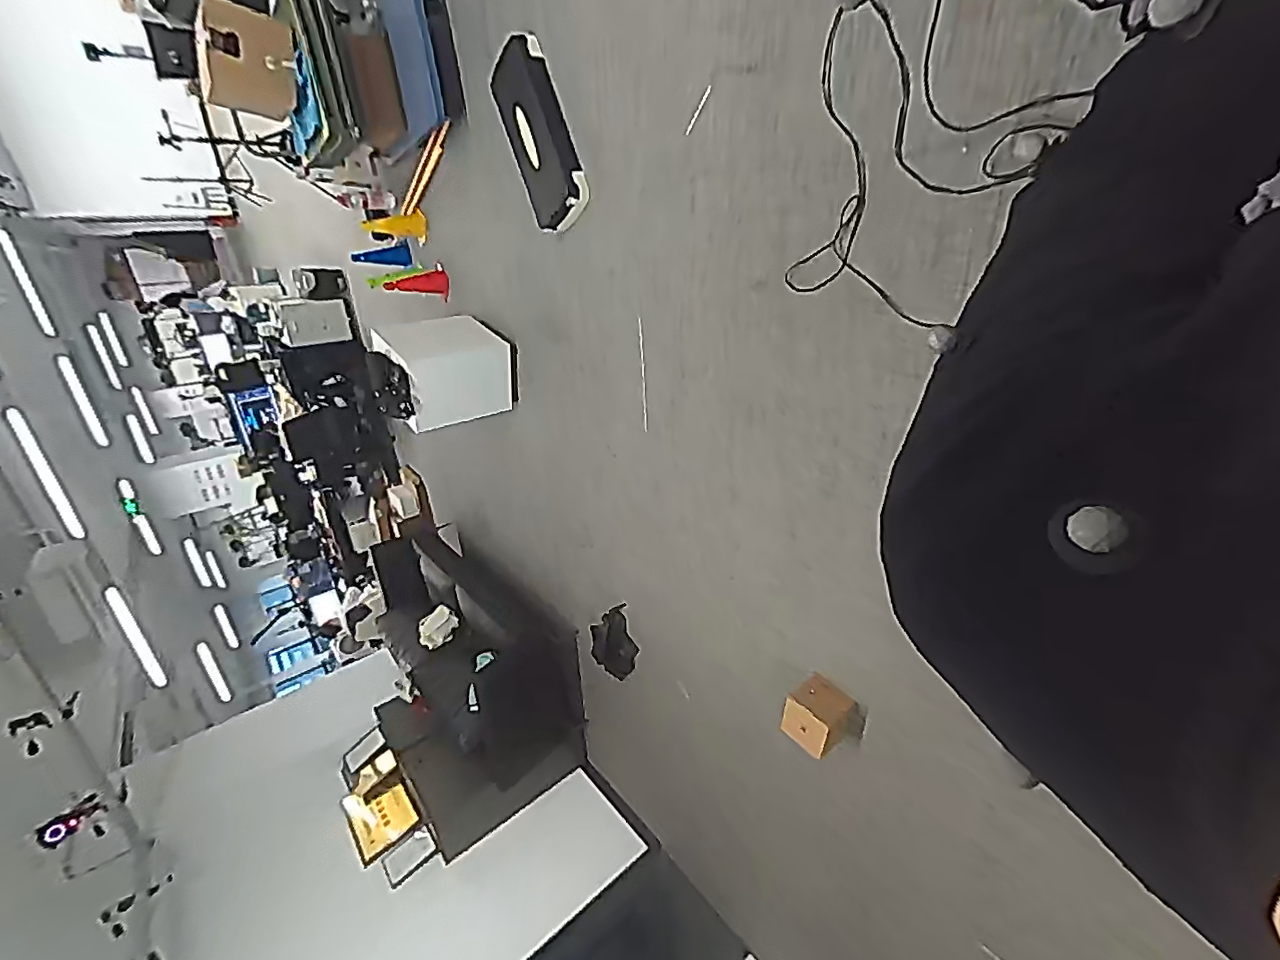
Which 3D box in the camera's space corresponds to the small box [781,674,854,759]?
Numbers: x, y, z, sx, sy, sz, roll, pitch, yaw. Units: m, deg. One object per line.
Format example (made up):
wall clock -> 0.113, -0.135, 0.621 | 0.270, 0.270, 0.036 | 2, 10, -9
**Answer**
small box -> 0.617, 0.813, 1.879 | 0.168, 0.176, 0.179 | 30, 131, 43
